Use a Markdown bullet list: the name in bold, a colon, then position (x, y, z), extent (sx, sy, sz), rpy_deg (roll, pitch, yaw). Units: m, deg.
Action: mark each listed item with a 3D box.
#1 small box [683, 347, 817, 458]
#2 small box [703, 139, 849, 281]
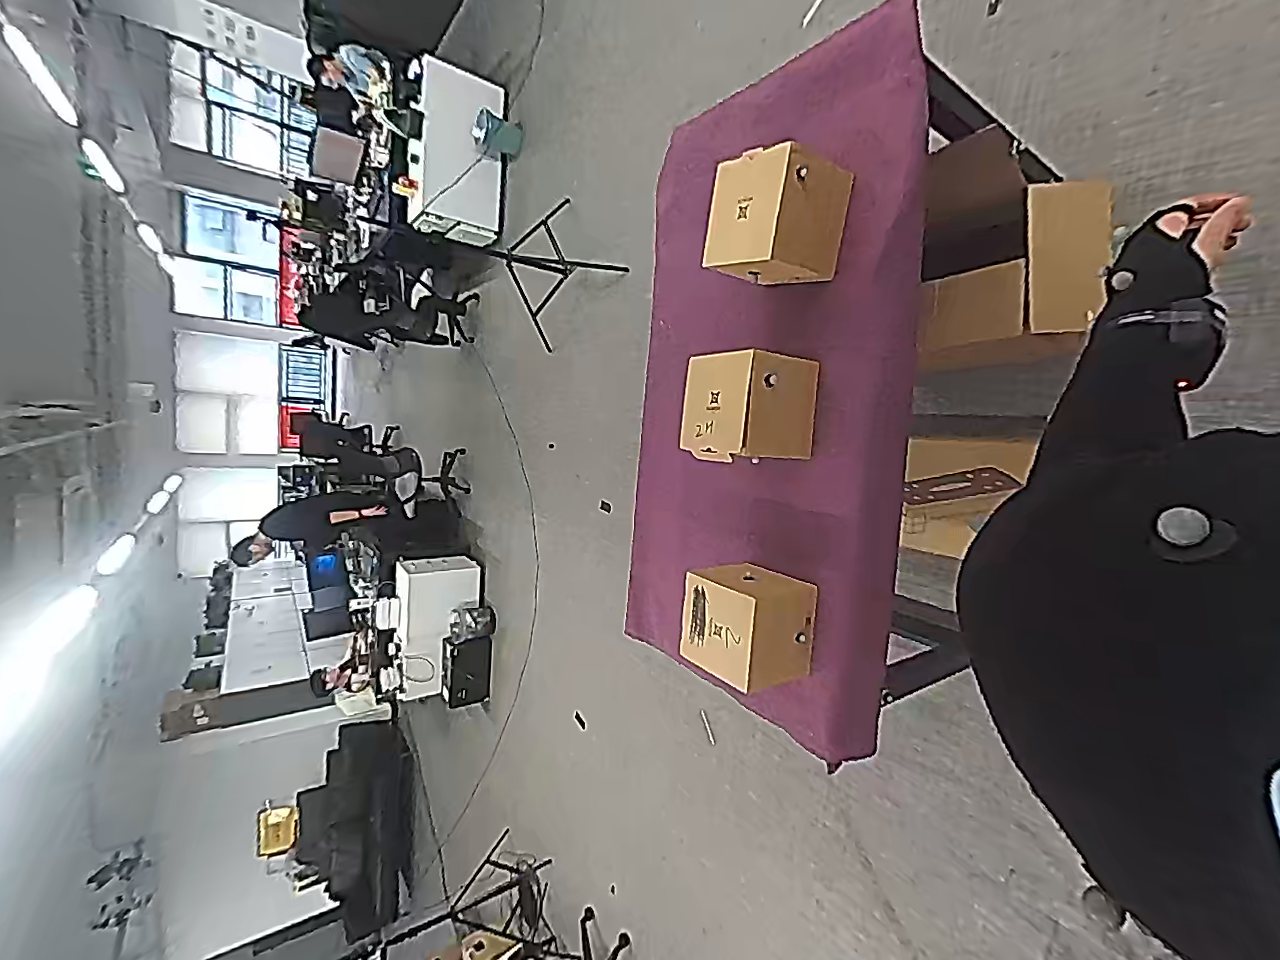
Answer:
- **small box**: position (0.200, -0.136, 0.984), extent (0.168, 0.176, 0.179), rpy_deg (11, 100, 56)
- **small box**: position (0.235, -0.449, 0.936), extent (0.168, 0.176, 0.179), rpy_deg (22, 108, 52)
